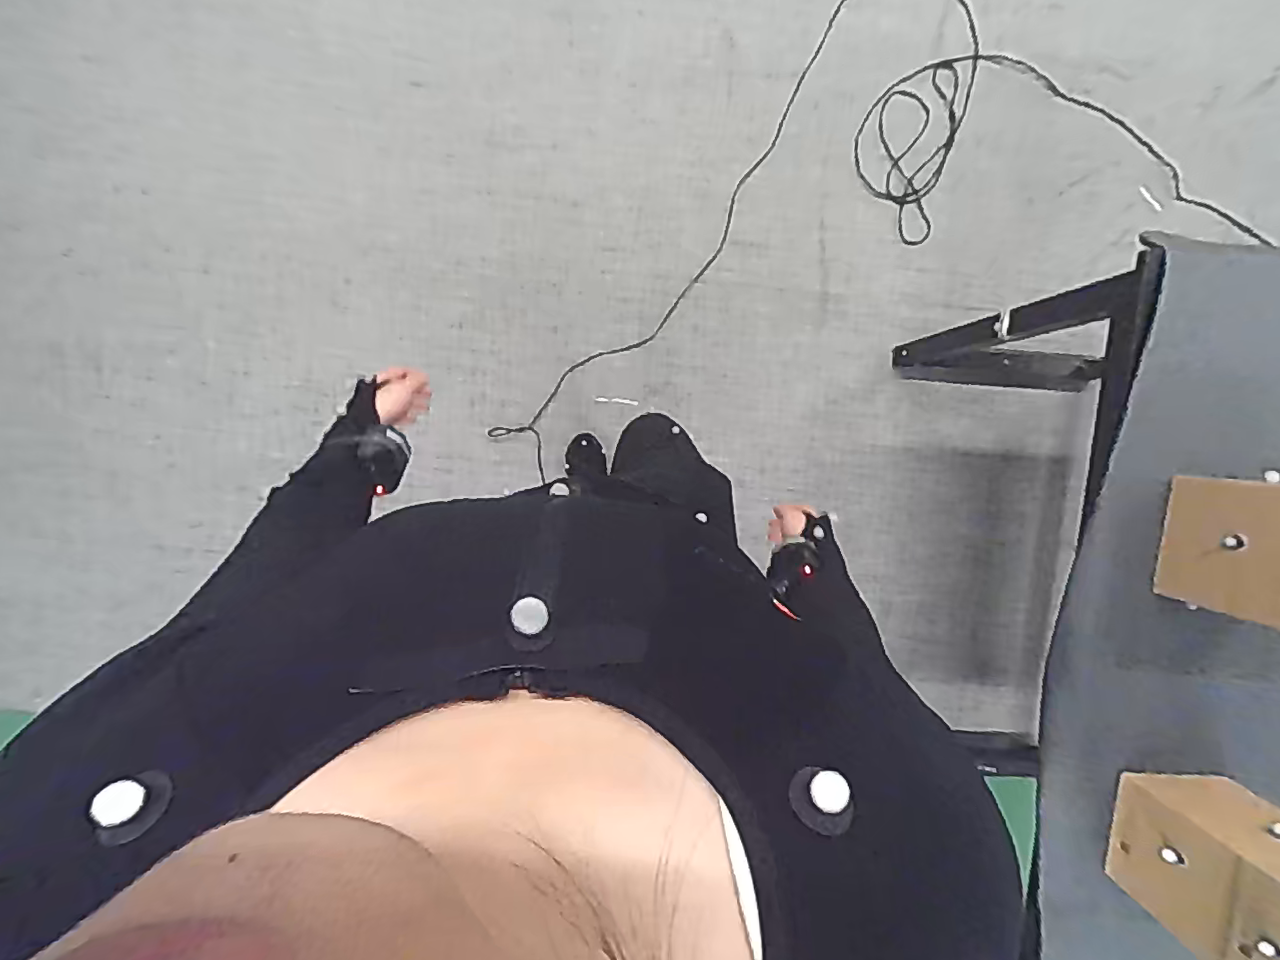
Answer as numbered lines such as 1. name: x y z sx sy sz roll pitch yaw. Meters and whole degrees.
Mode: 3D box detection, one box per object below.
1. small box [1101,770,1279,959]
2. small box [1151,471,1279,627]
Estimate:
1. small box: 0.798 0.530 0.751 0.179 0.176 0.168 4 95 -4
2. small box: 0.836 0.088 0.712 0.168 0.176 0.179 5 94 -4
